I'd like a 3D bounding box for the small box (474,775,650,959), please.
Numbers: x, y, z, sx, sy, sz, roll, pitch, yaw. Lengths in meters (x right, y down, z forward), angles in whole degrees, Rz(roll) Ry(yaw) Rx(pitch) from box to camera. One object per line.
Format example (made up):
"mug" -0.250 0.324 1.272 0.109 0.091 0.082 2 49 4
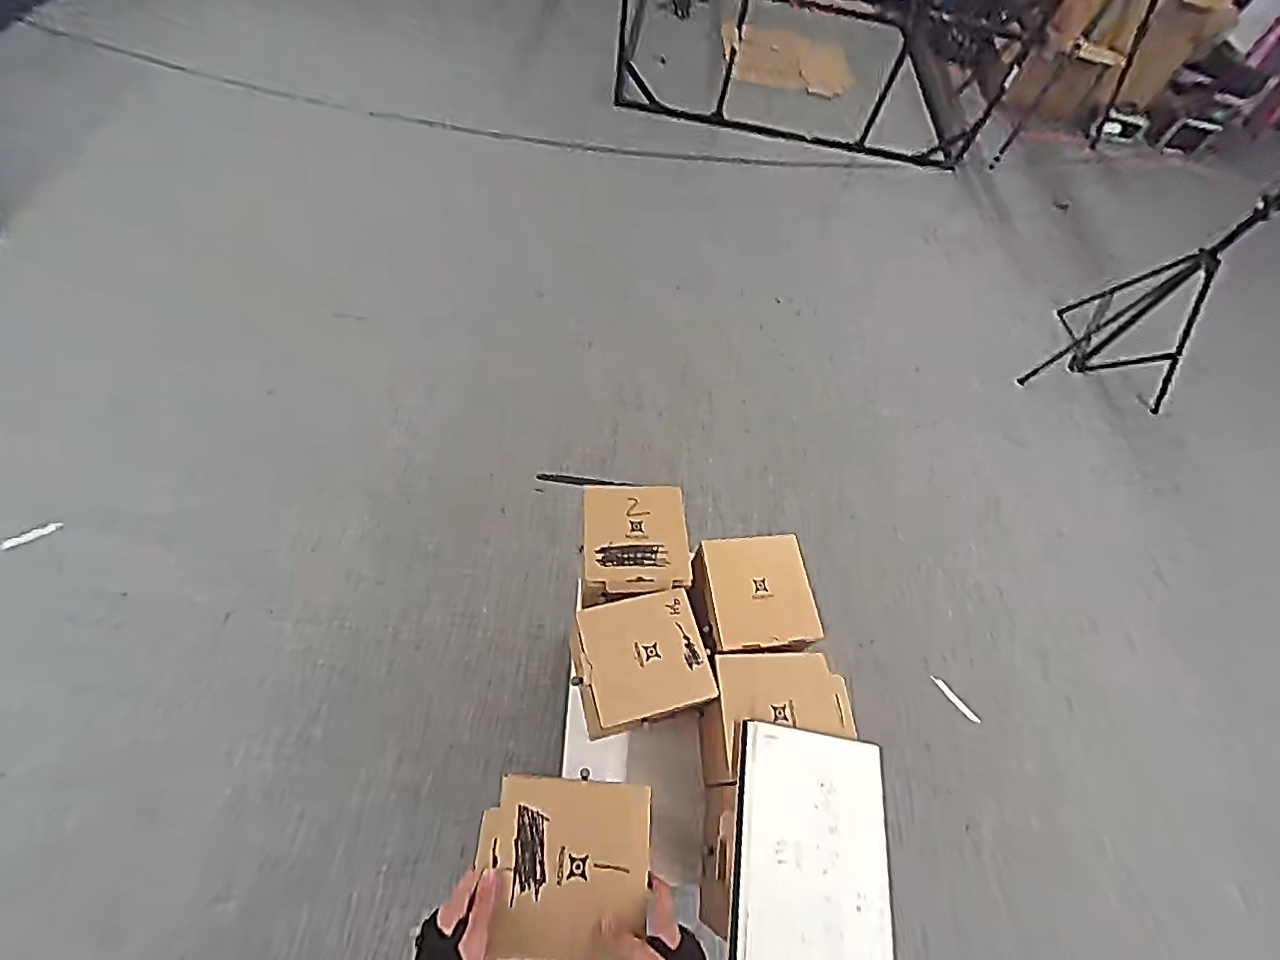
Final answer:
"small box" -0.088 0.465 0.663 0.179 0.176 0.168 7 59 -5
